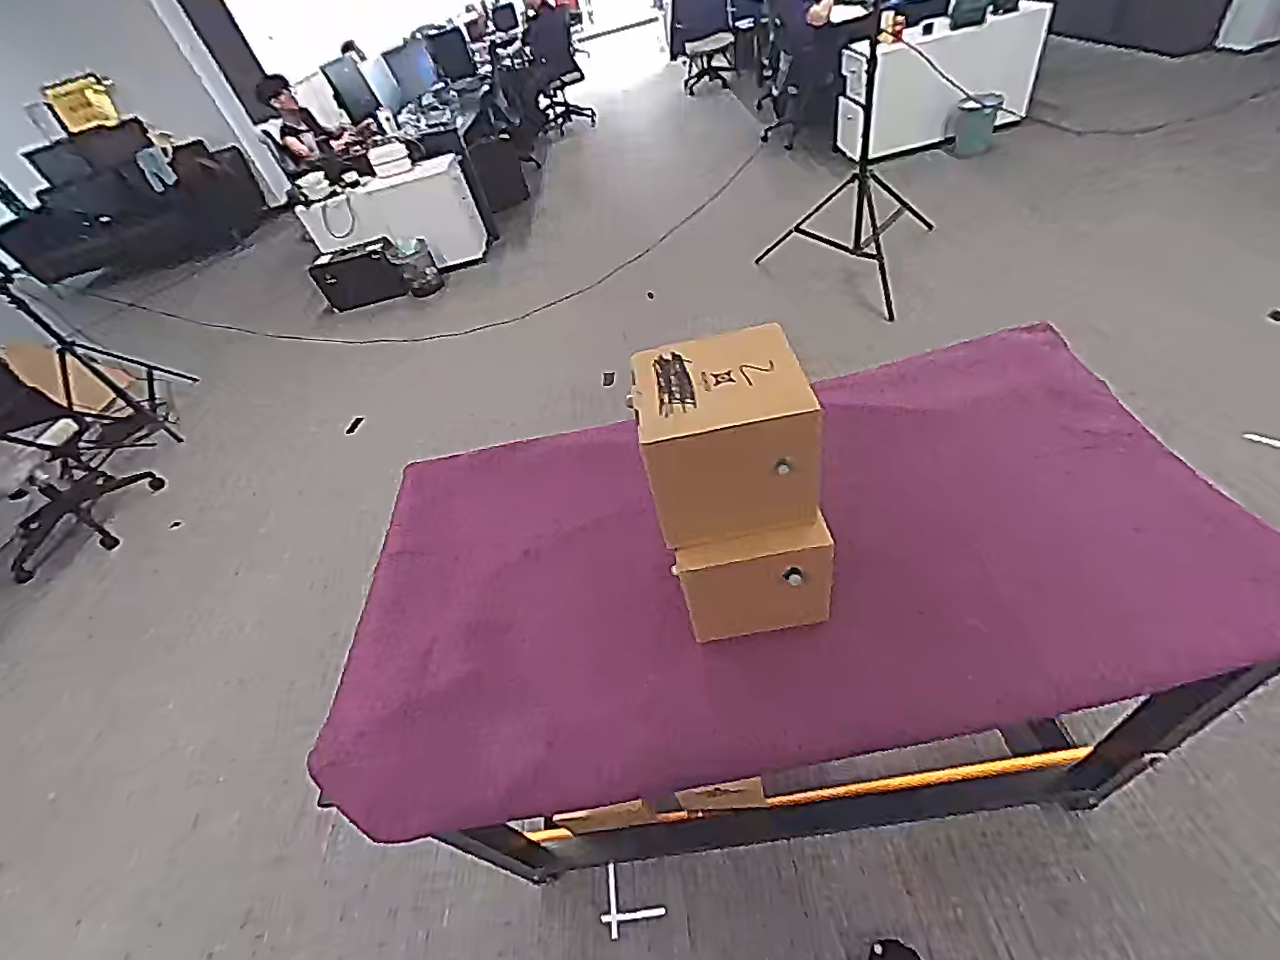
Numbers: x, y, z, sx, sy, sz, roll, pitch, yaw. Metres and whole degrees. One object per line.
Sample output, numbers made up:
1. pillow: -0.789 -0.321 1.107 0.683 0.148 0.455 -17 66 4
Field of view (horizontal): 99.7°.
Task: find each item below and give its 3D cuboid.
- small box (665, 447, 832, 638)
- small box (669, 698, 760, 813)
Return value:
1. small box: 0.137 0.085 0.710 0.179 0.176 0.168 -11 43 5
2. small box: 0.154 0.572 1.115 0.168 0.176 0.179 -7 45 8
